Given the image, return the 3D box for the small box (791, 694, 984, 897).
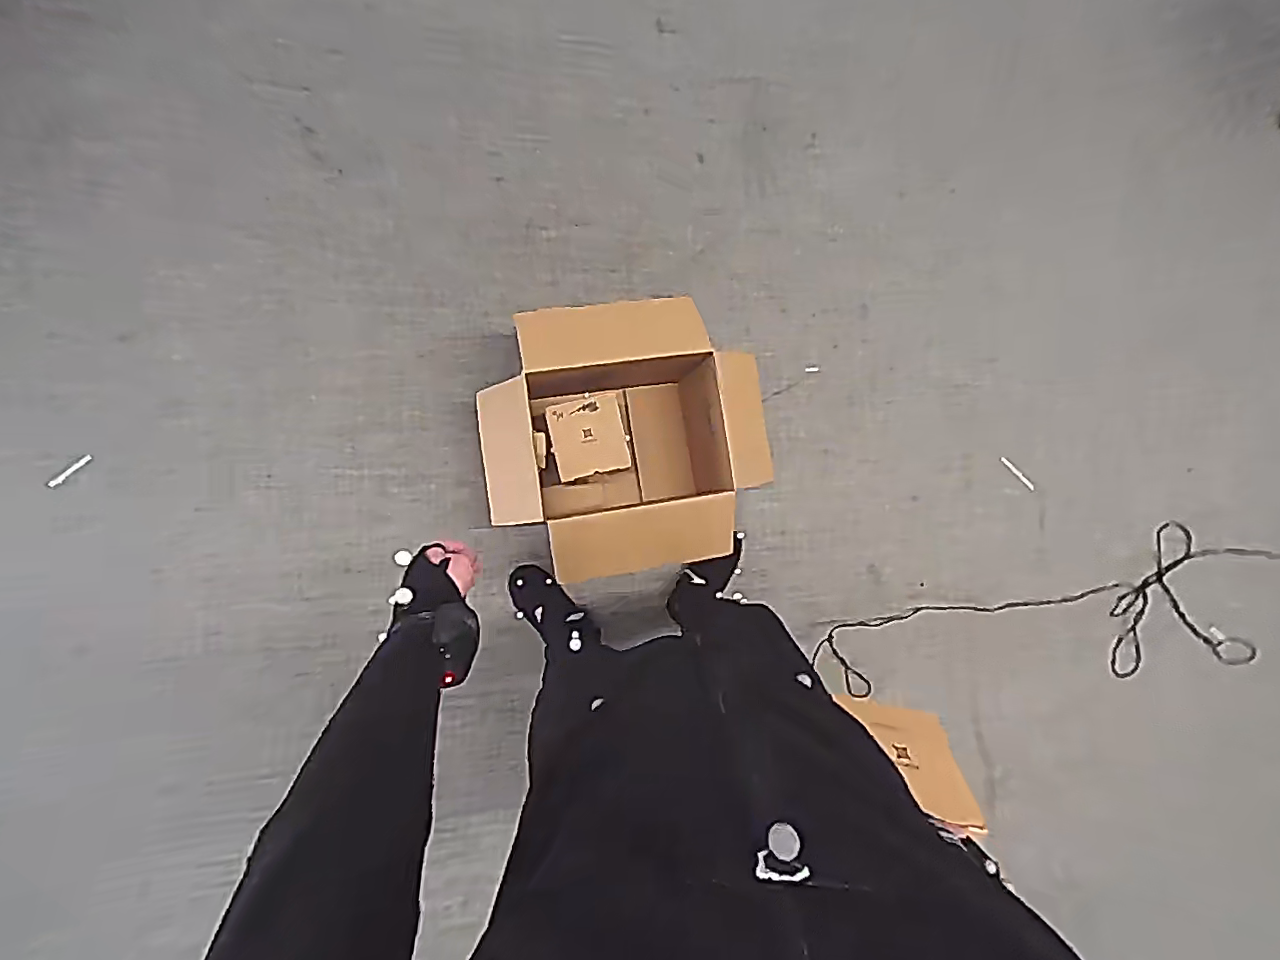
[{"bbox_3d":[0.333,0.445,0.768,0.168,0.179,0.176,15,115,-3],"label":"small box"}]
